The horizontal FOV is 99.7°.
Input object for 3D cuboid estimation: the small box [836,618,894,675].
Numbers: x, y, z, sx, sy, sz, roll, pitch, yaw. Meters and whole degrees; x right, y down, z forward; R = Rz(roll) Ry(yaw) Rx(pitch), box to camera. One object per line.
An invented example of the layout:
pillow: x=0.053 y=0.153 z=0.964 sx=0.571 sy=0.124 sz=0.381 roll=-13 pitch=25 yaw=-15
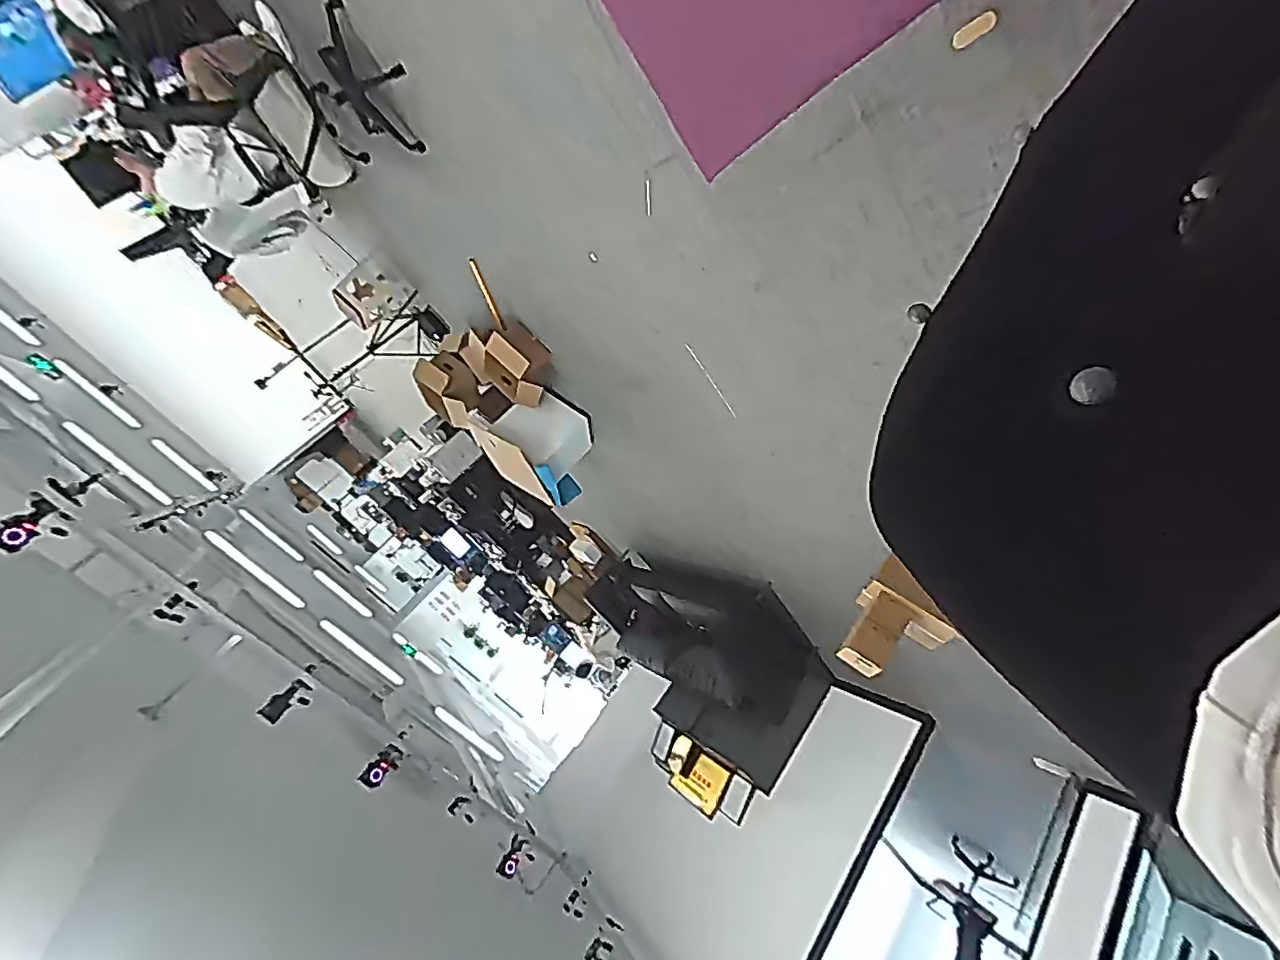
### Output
small box: x=1.012 y=0.743 z=2.424 sx=0.168 sy=0.176 sz=0.179 roll=34 pitch=157 yaw=19

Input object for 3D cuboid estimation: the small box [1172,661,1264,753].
small box: x=1.827 y=0.712 z=1.711 sx=0.168 sy=0.176 sz=0.179 roll=17 pitch=146 yaw=52

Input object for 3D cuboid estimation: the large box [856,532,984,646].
large box: x=1.325 y=0.517 z=2.584 sx=0.408 sy=0.320 sz=0.320 roll=32 pitch=157 yaw=20
